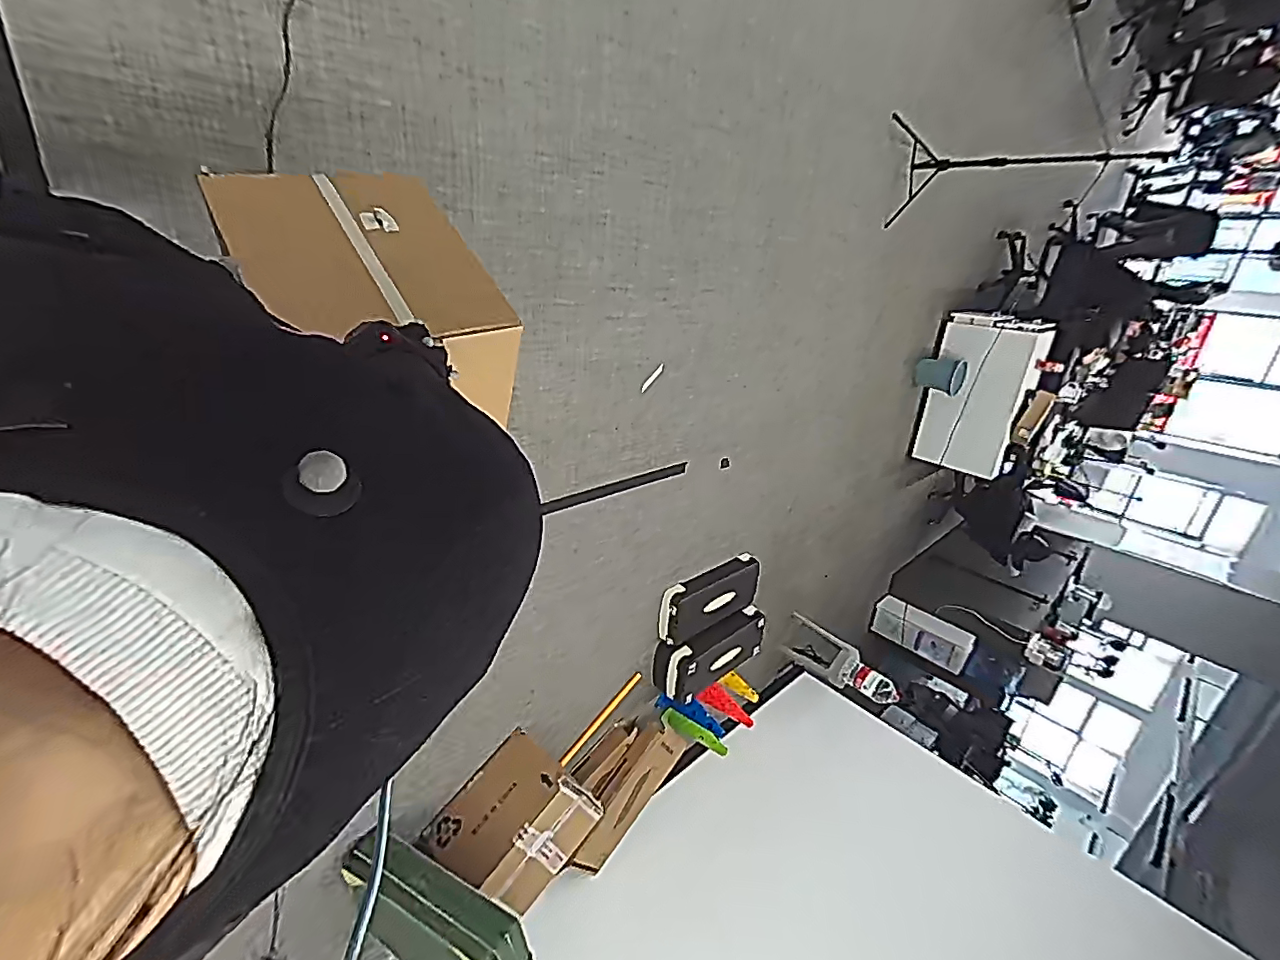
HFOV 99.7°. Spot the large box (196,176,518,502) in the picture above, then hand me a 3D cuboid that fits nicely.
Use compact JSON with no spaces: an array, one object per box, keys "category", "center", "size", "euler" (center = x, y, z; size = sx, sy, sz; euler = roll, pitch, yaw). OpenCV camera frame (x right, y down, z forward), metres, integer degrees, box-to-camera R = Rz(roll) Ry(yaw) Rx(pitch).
[{"category":"large box","center":[-0.449,-0.240,0.896],"size":[0.320,0.408,0.320],"euler":[-21,153,-35]}]
